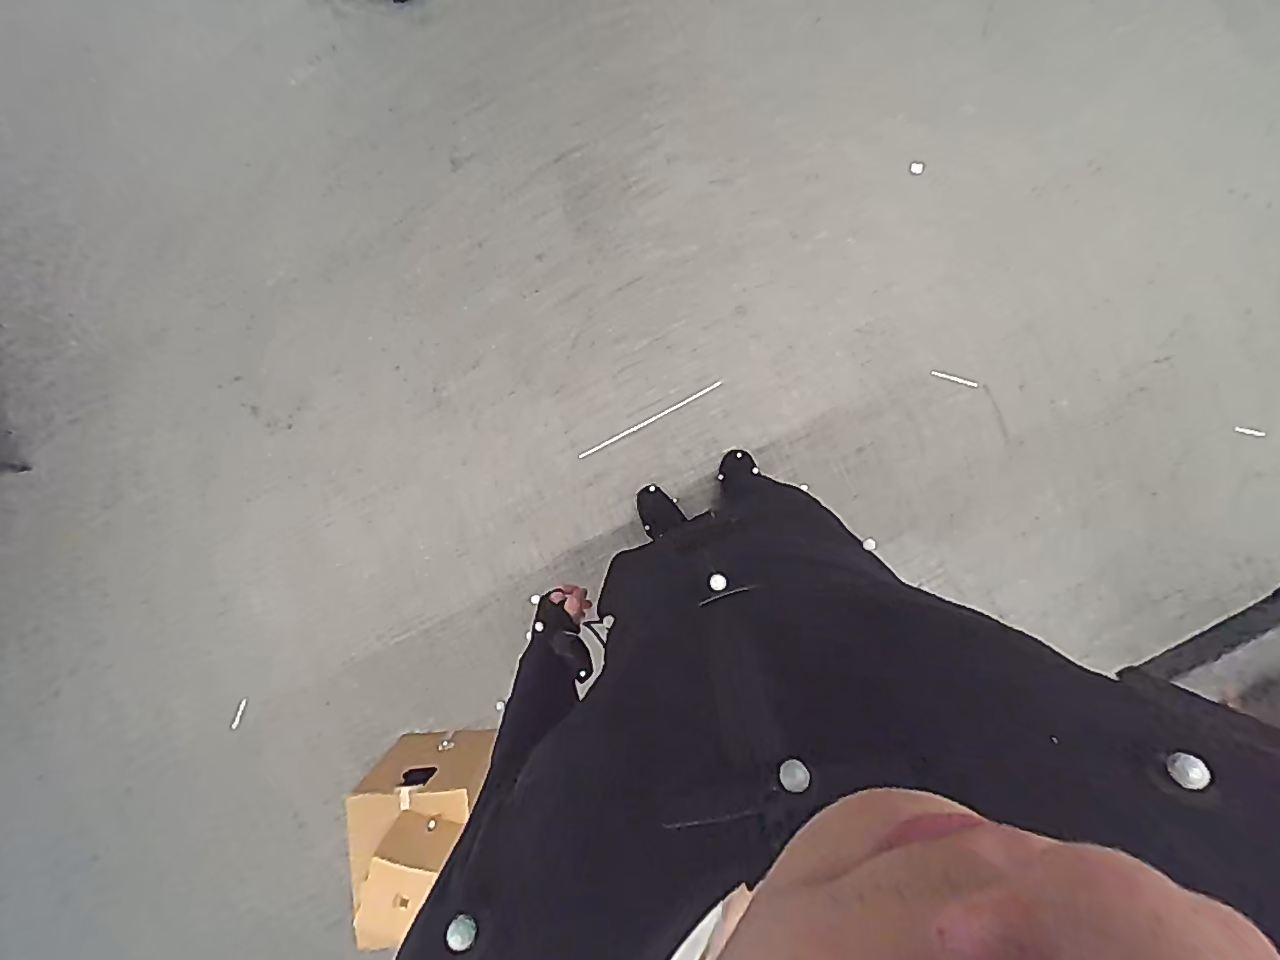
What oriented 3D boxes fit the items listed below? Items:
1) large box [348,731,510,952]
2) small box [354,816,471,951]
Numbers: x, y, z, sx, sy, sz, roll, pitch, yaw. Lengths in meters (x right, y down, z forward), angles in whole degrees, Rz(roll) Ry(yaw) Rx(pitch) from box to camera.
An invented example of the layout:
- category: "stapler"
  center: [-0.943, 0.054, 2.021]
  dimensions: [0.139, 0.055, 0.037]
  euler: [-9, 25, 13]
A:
- category: "large box"
  center: [-0.562, 0.975, 1.503]
  dimensions: [0.320, 0.320, 0.408]
  euler: [-4, 92, 1]
- category: "small box"
  center: [-0.520, 0.923, 1.255]
  dimensions: [0.179, 0.176, 0.168]
  euler: [16, 91, -1]
